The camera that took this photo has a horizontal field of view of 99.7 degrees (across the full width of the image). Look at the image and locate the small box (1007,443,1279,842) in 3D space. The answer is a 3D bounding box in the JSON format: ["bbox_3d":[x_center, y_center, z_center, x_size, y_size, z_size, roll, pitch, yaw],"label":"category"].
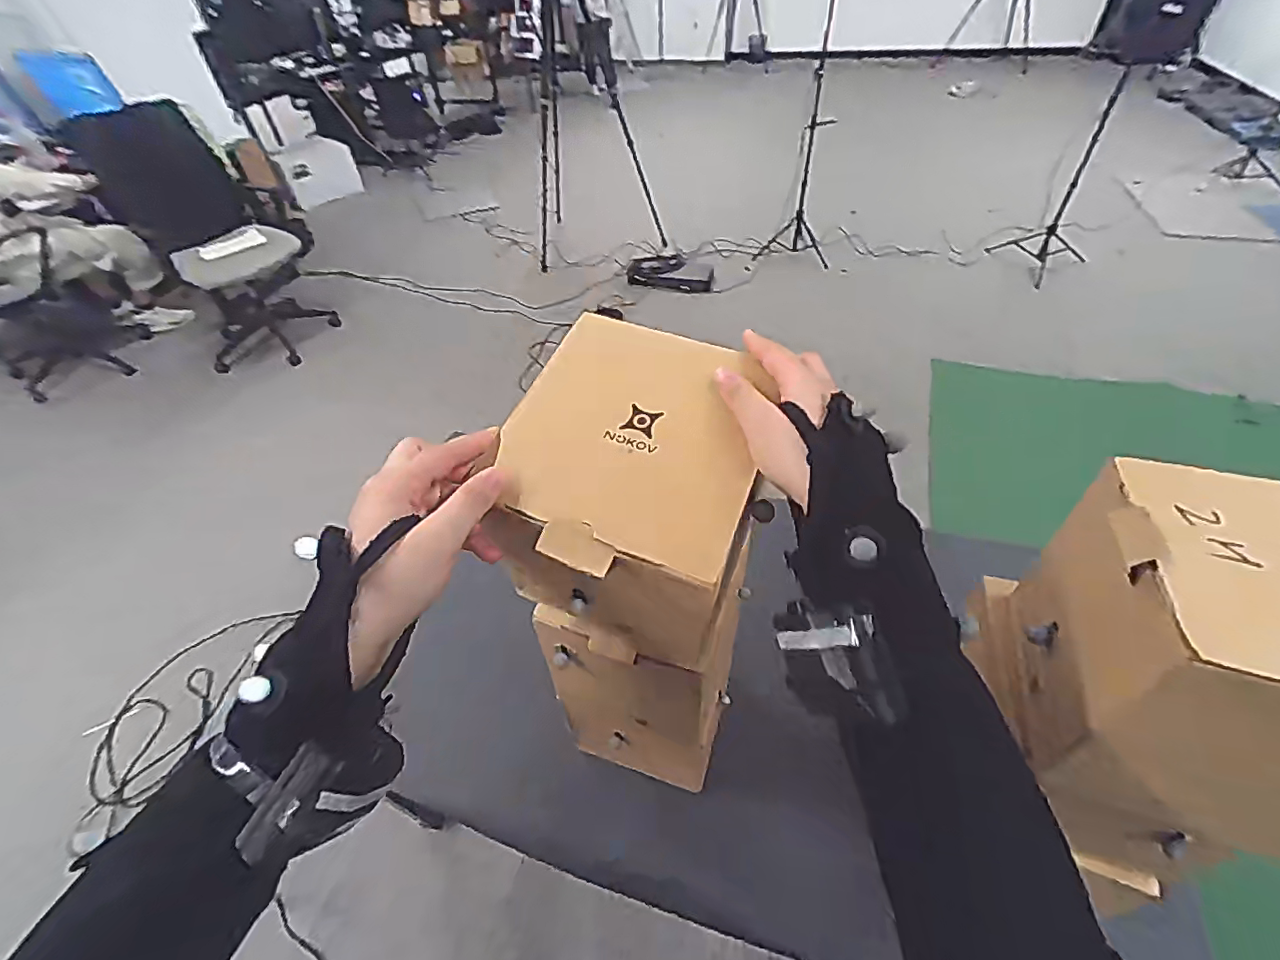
[{"bbox_3d":[0.374,0.104,0.347,0.179,0.176,0.168,12,45,17],"label":"small box"}]

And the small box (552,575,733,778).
[{"bbox_3d":[0.012,0.252,0.694,0.179,0.176,0.168,12,47,16],"label":"small box"}]
